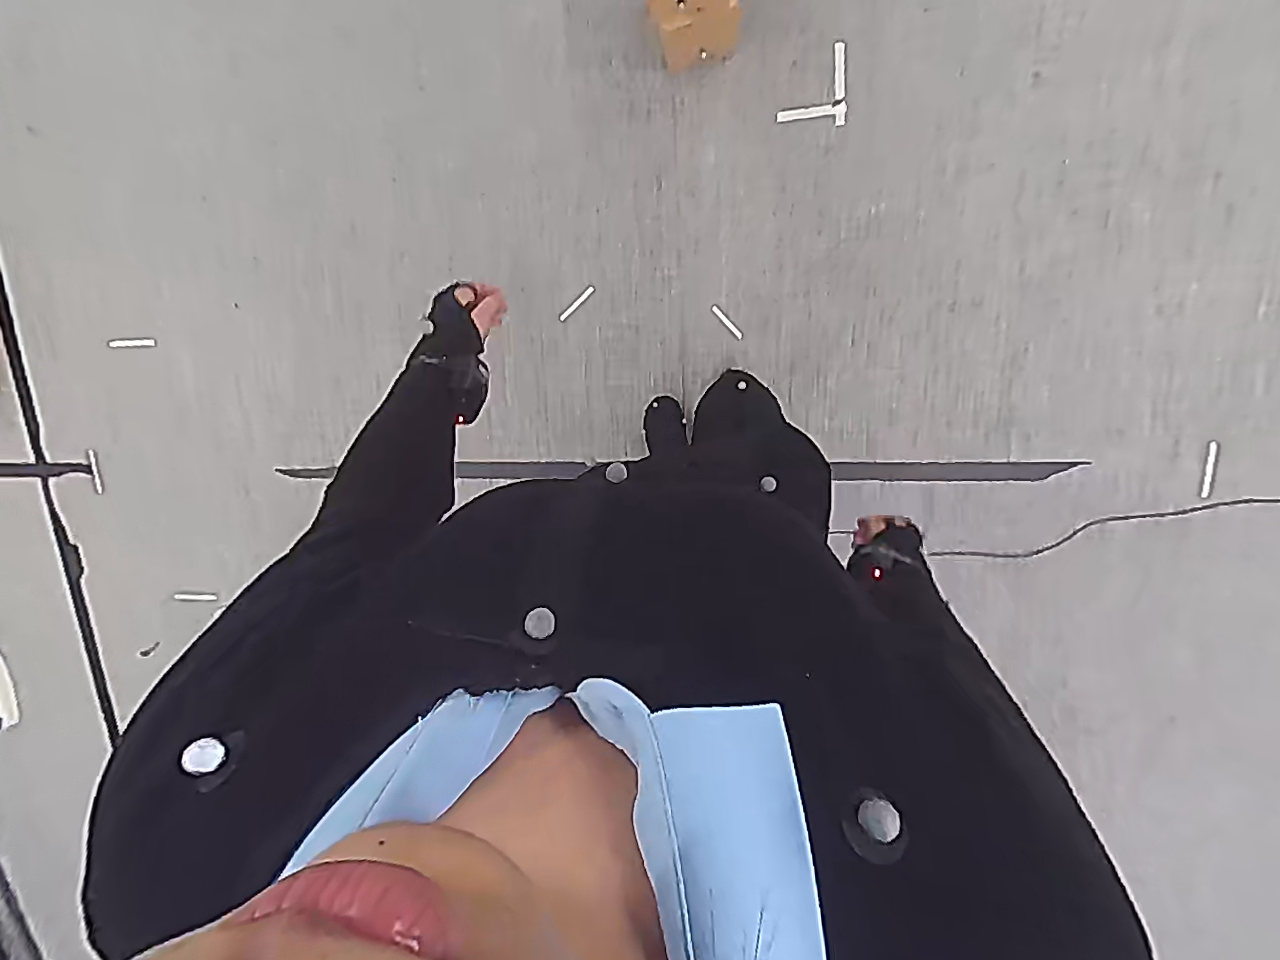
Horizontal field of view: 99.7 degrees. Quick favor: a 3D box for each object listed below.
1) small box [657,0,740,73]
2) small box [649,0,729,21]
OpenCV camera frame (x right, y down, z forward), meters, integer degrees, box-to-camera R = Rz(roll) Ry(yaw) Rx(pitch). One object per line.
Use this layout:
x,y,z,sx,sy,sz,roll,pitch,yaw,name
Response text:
0.117,-1.055,1.189,0.168,0.176,0.179,-12,99,10,small box
0.091,-1.031,1.030,0.168,0.176,0.179,0,101,7,small box
